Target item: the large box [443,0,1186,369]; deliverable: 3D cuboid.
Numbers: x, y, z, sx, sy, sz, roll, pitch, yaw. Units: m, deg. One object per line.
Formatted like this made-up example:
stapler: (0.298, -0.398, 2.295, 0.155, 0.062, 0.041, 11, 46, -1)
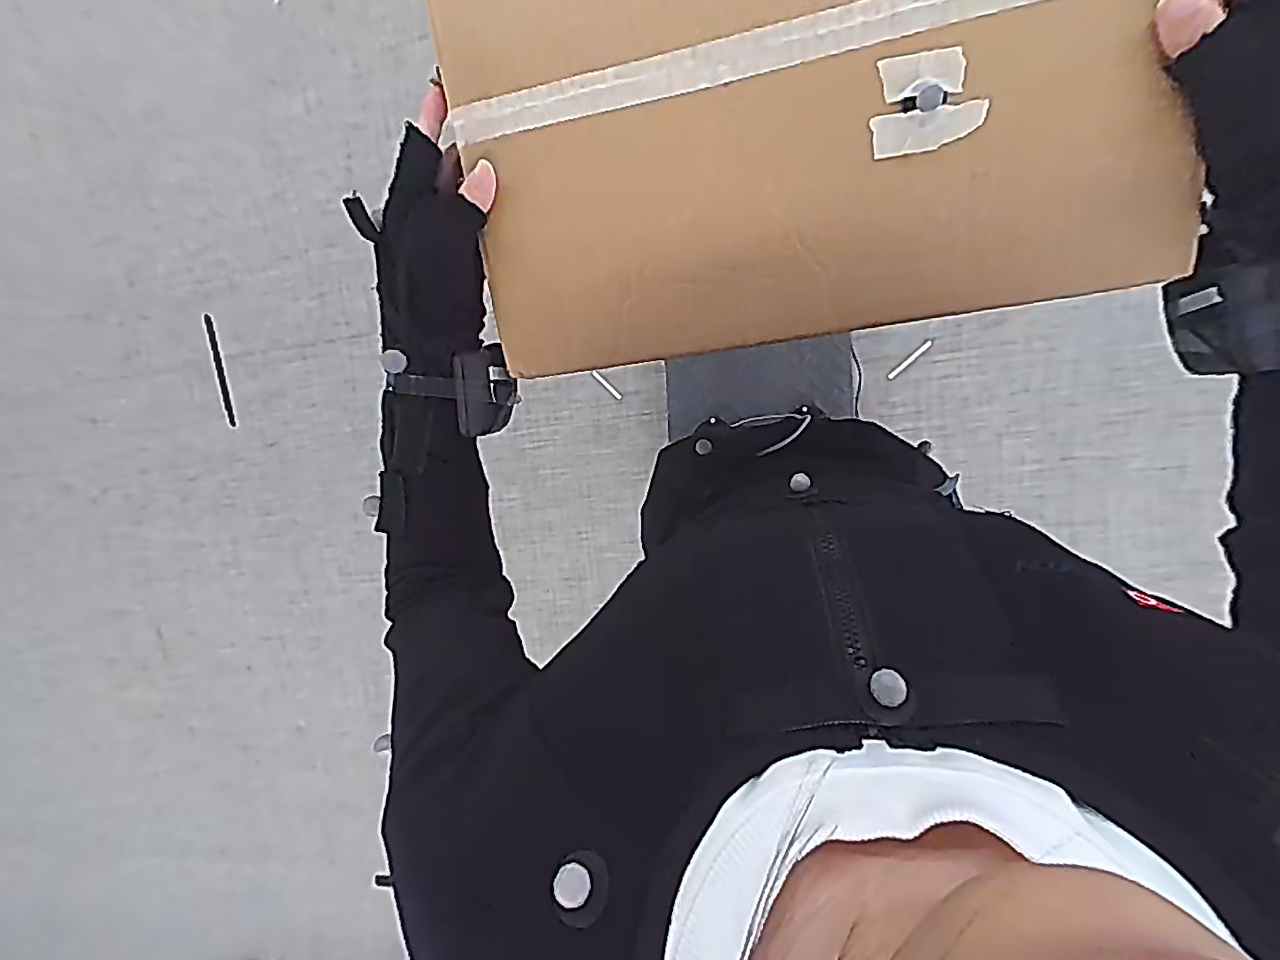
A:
large box: (0.105, -0.288, 0.452, 0.408, 0.320, 0.320, -7, 105, 10)
